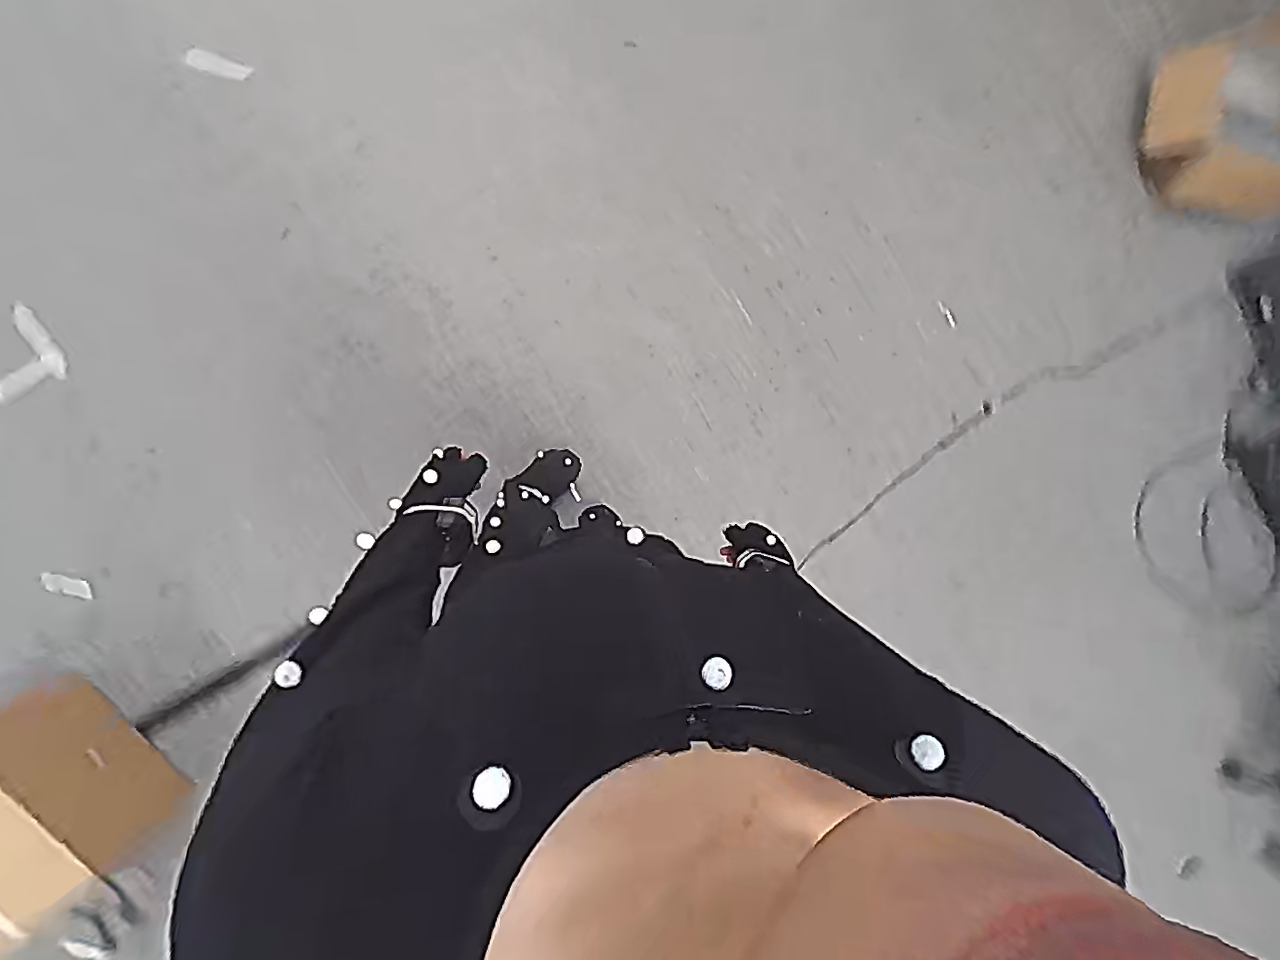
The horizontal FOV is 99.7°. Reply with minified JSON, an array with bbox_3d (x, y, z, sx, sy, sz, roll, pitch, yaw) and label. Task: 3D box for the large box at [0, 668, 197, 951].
[{"bbox_3d":[-1.321,0.696,1.171,0.320,0.320,0.408,-40,97,-6],"label":"large box"}]
